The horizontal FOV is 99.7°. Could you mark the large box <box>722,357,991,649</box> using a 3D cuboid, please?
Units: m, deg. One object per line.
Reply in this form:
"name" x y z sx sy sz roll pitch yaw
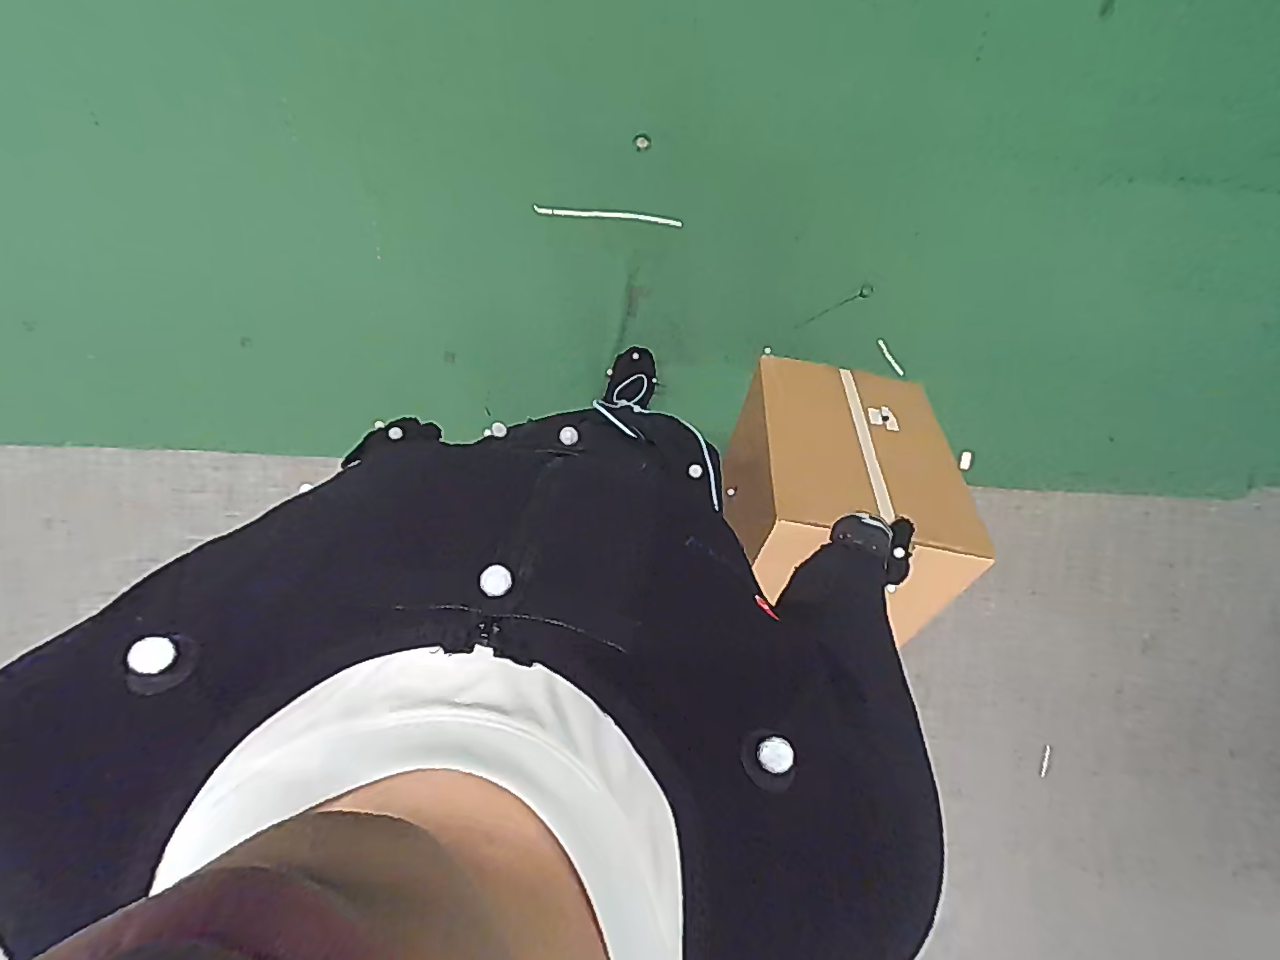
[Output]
"large box" 0.335 0.039 0.984 0.320 0.408 0.320 11 136 -3
